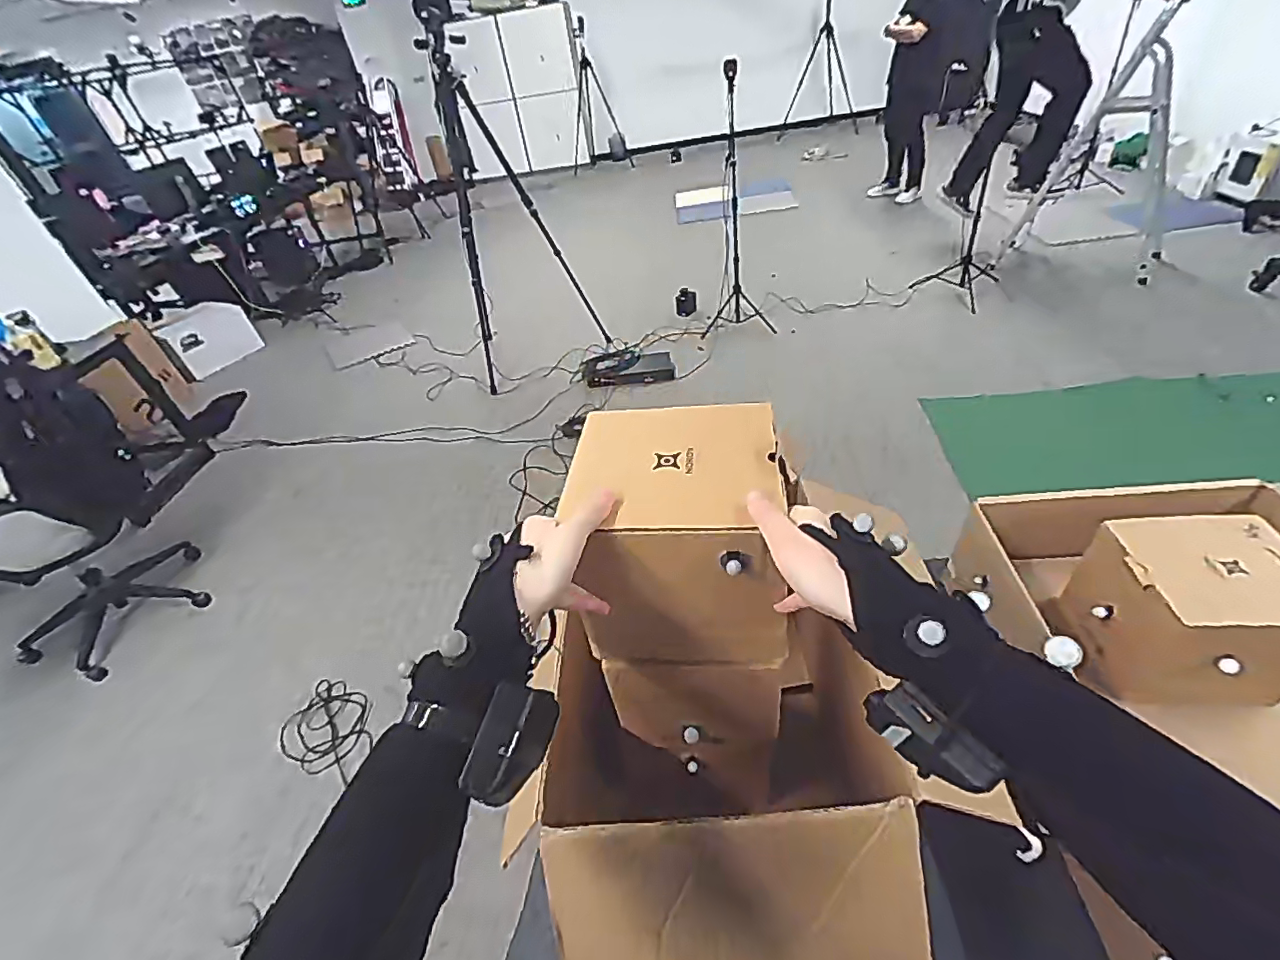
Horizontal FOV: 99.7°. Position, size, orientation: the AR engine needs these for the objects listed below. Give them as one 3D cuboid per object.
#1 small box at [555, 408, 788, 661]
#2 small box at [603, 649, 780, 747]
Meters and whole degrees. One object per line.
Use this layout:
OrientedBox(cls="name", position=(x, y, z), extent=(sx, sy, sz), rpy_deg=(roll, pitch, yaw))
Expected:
OrientedBox(cls="small box", position=(0.039, 0.051, 0.503), extent=(0.179, 0.176, 0.168), rpy_deg=(-2, 40, 9))
OrientedBox(cls="small box", position=(0.063, 0.175, 0.611), extent=(0.168, 0.176, 0.179), rpy_deg=(-3, 42, 9))
